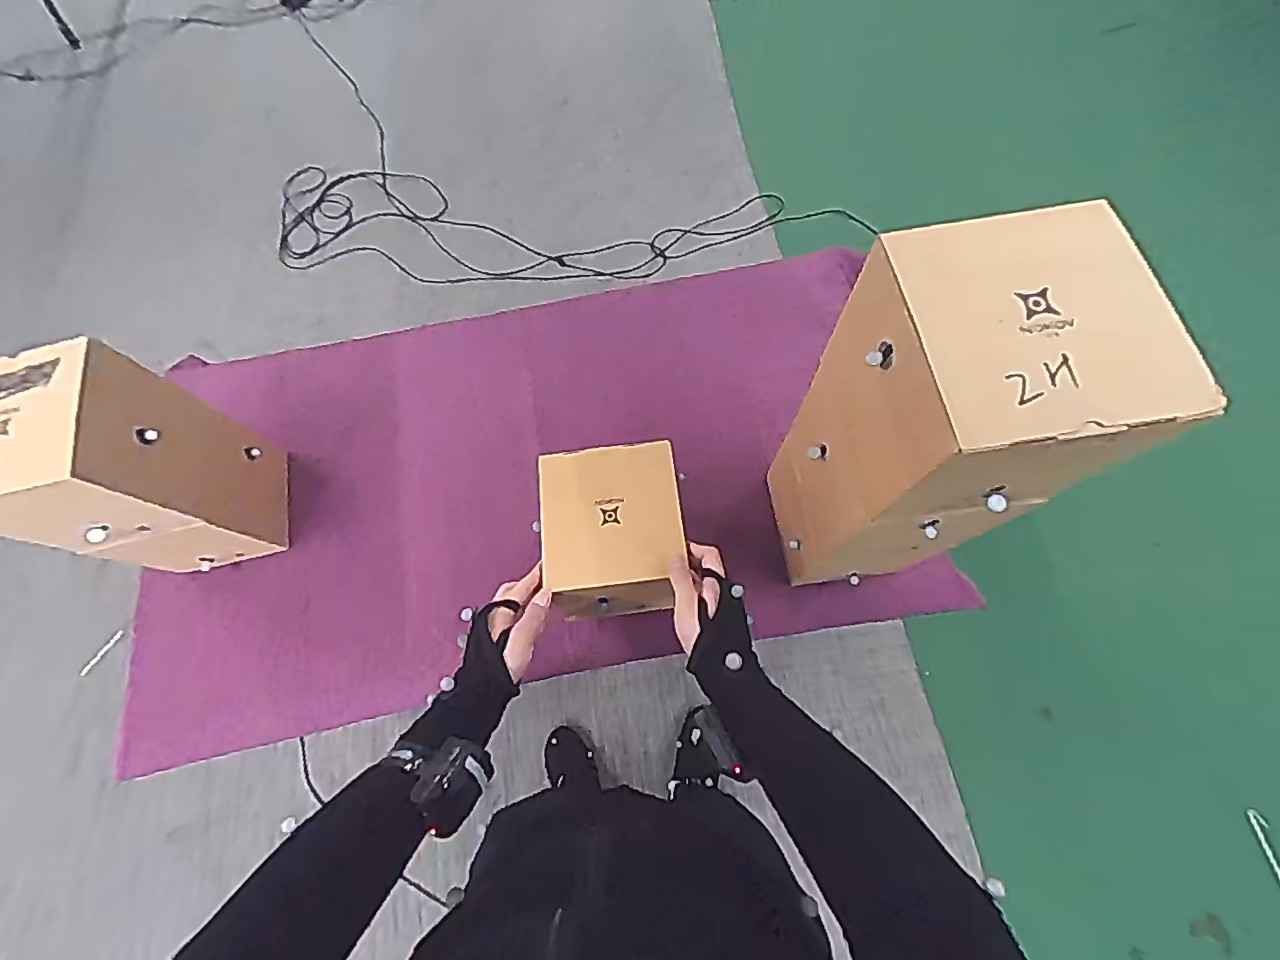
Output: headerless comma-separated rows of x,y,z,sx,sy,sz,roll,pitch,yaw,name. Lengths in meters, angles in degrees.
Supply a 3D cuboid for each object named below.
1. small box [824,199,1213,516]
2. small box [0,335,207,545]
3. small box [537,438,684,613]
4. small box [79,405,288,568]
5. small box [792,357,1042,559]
0.264,-0.084,0.434,0.168,0.176,0.179,-8,71,1,small box
-0.657,-0.038,0.640,0.168,0.176,0.179,-14,71,-1,small box
-0.033,0.069,0.704,0.168,0.176,0.179,-7,64,0,small box
-0.650,0.017,0.794,0.168,0.176,0.179,-13,72,-2,small box
0.275,-0.025,0.588,0.168,0.176,0.179,-8,69,2,small box
